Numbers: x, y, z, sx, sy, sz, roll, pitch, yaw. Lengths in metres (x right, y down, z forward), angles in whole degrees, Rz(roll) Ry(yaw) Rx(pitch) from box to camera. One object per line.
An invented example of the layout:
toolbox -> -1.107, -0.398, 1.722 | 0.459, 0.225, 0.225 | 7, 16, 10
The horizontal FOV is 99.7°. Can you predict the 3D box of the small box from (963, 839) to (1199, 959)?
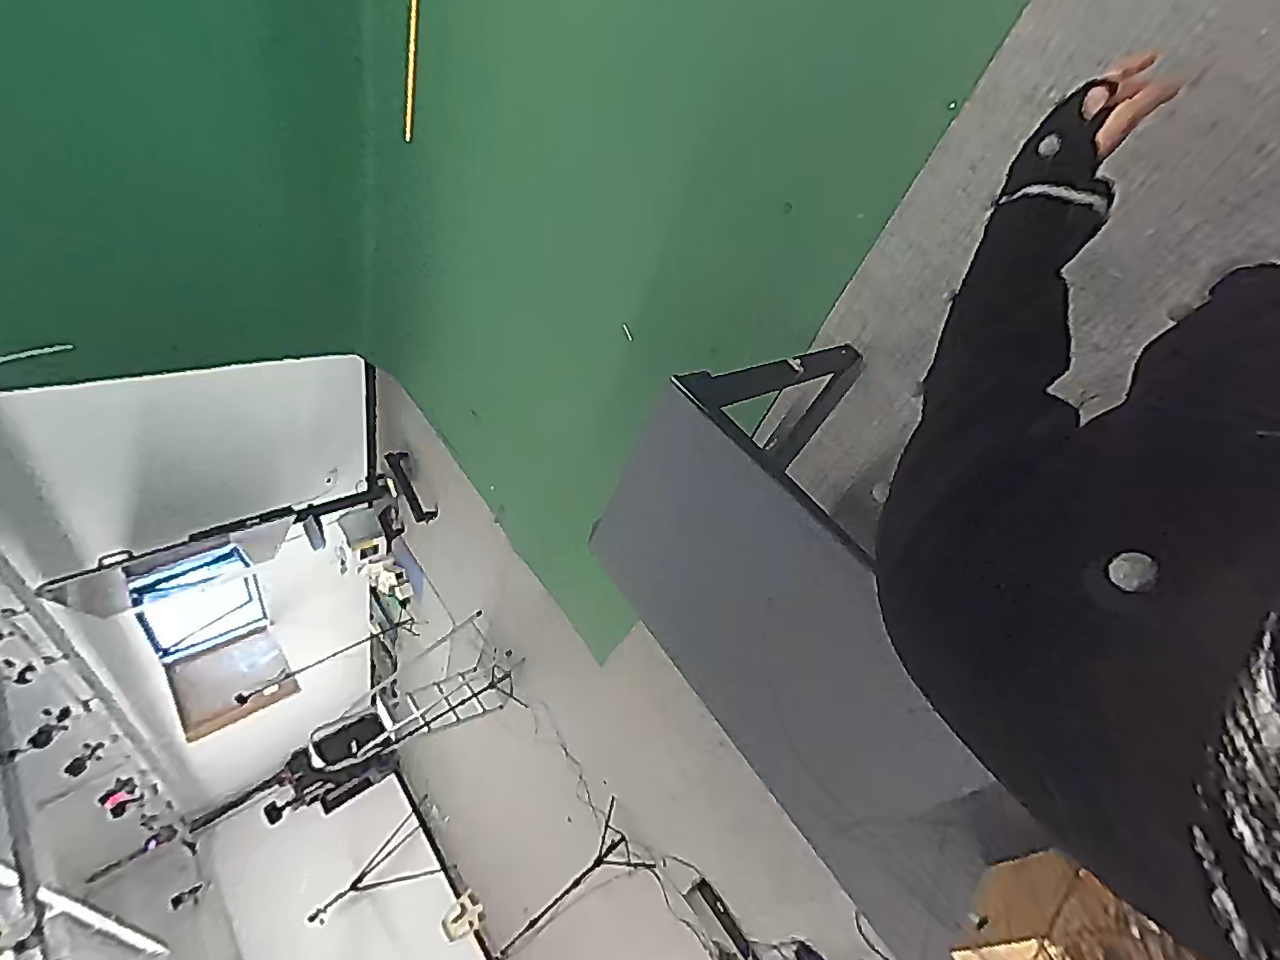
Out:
small box -> 0.588, 0.628, 0.723 | 0.168, 0.176, 0.179 | 47, 136, 24
